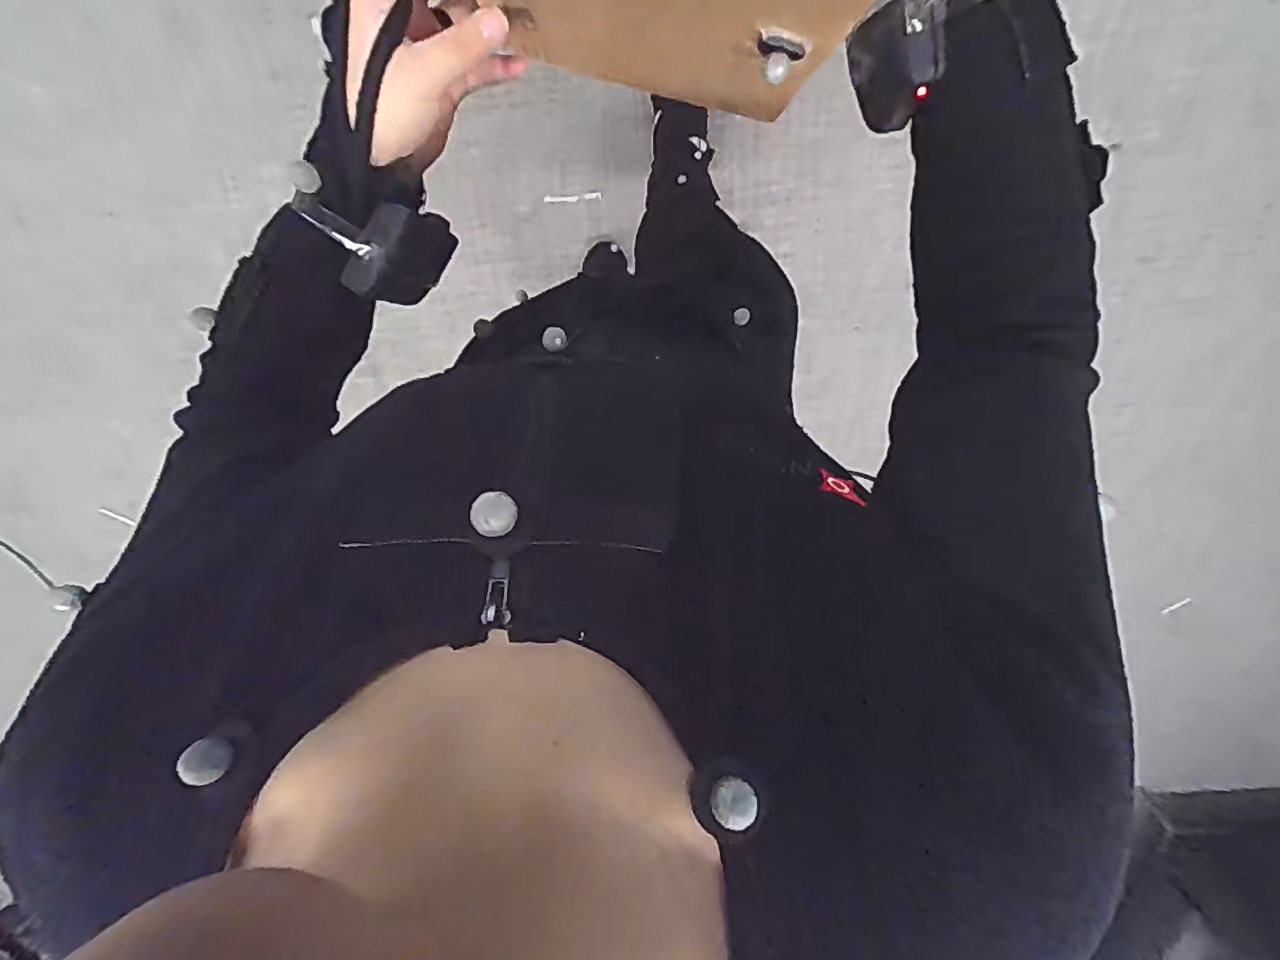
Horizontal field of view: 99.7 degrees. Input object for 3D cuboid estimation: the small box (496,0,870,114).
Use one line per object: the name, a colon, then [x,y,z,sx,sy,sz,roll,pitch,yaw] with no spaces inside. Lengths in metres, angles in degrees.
small box: [0.024,-0.298,0.229,0.176,0.168,0.179,11,107,-4]
